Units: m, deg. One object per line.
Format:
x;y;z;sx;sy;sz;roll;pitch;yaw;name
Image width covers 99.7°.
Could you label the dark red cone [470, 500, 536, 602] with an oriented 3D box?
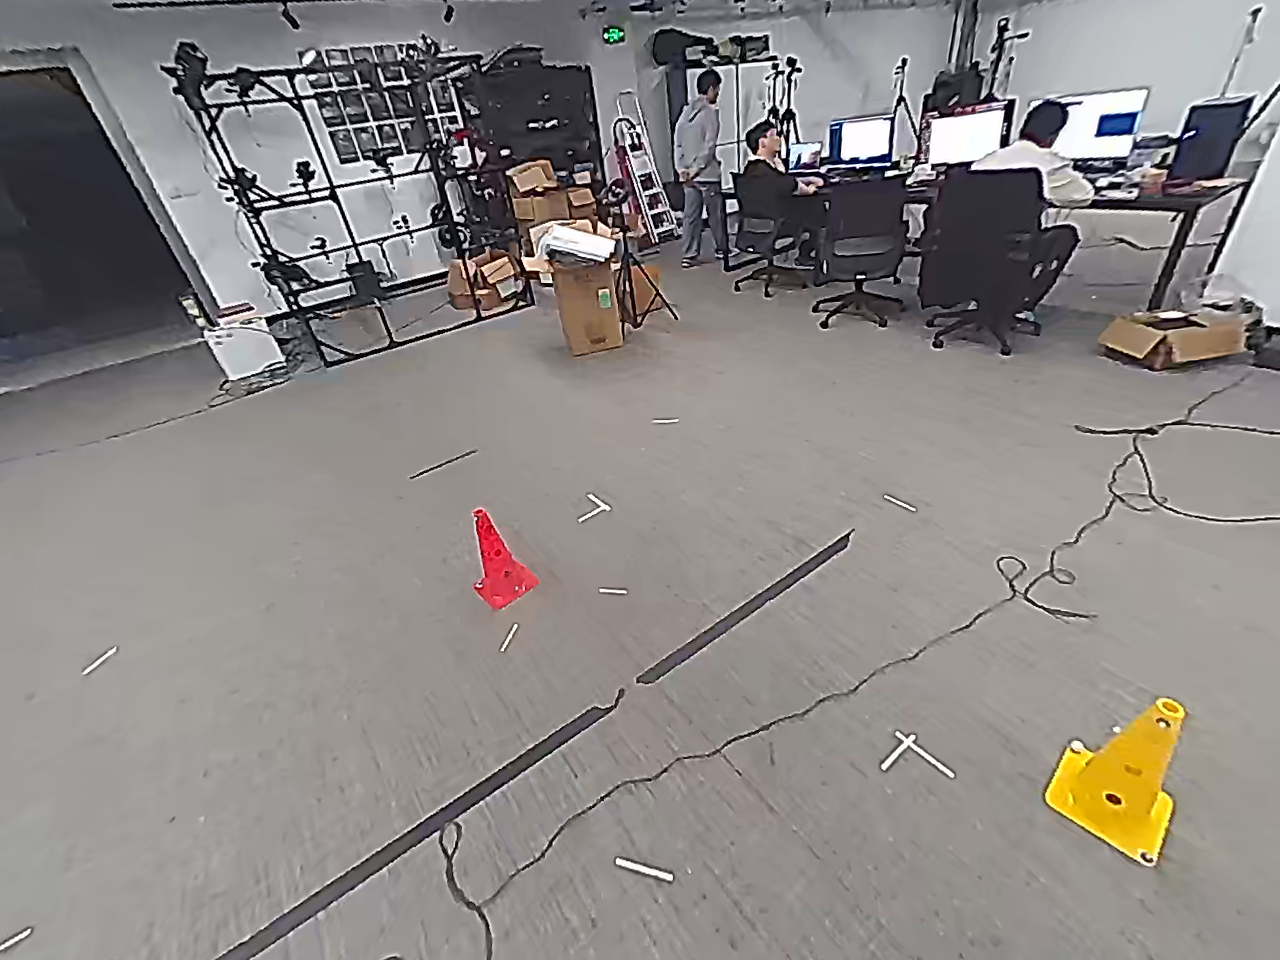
-0.546;0.242;1.987;0.202;0.394;0.201;-32;41;-31;dark red cone
